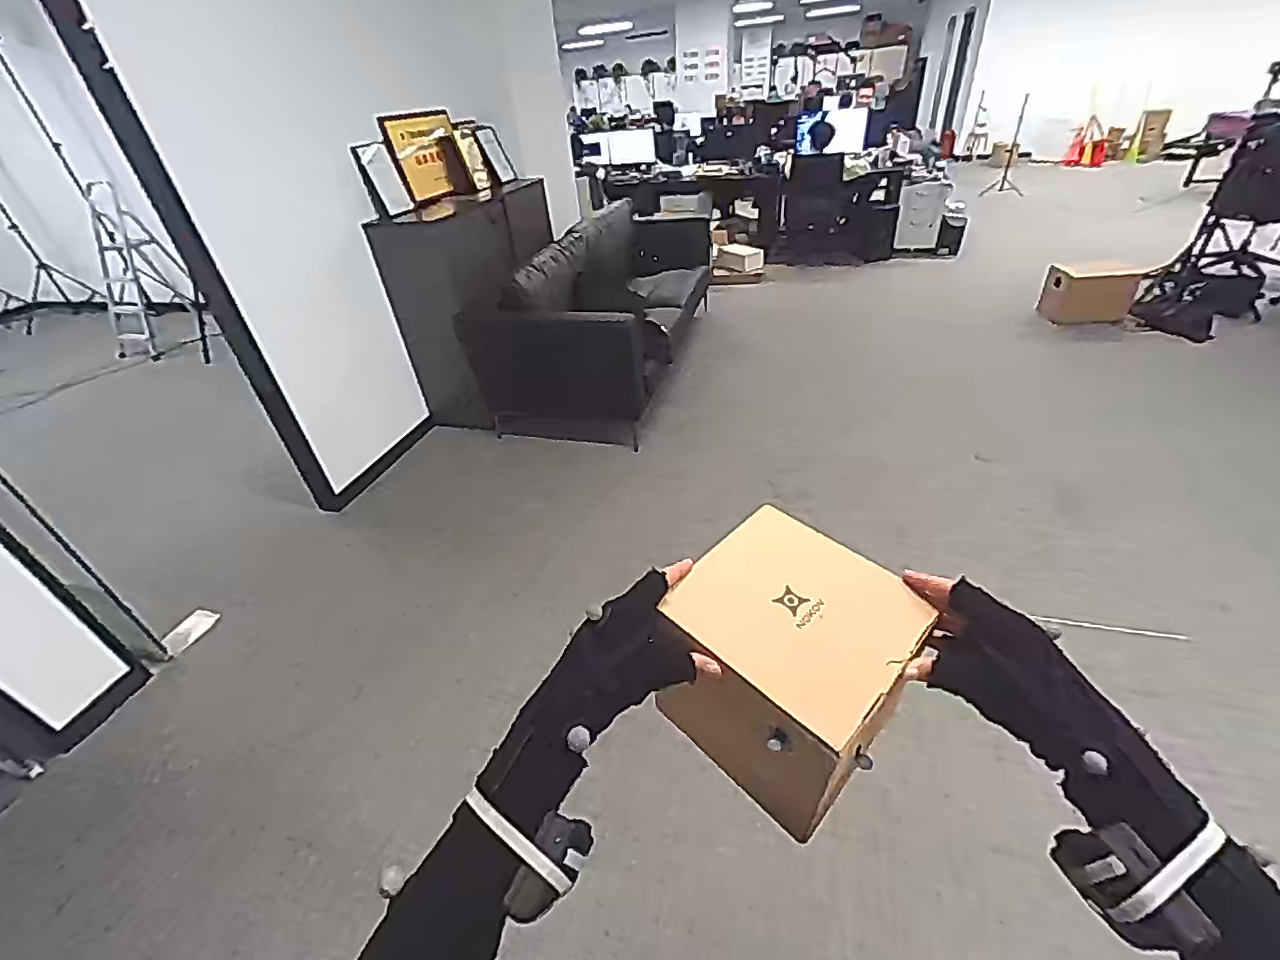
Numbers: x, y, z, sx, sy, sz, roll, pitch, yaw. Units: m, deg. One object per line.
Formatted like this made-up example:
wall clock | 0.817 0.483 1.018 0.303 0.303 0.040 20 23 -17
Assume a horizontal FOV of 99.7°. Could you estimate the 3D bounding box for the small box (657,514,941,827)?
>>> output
small box | 0.131 0.169 0.497 0.168 0.176 0.179 -33 49 -31
